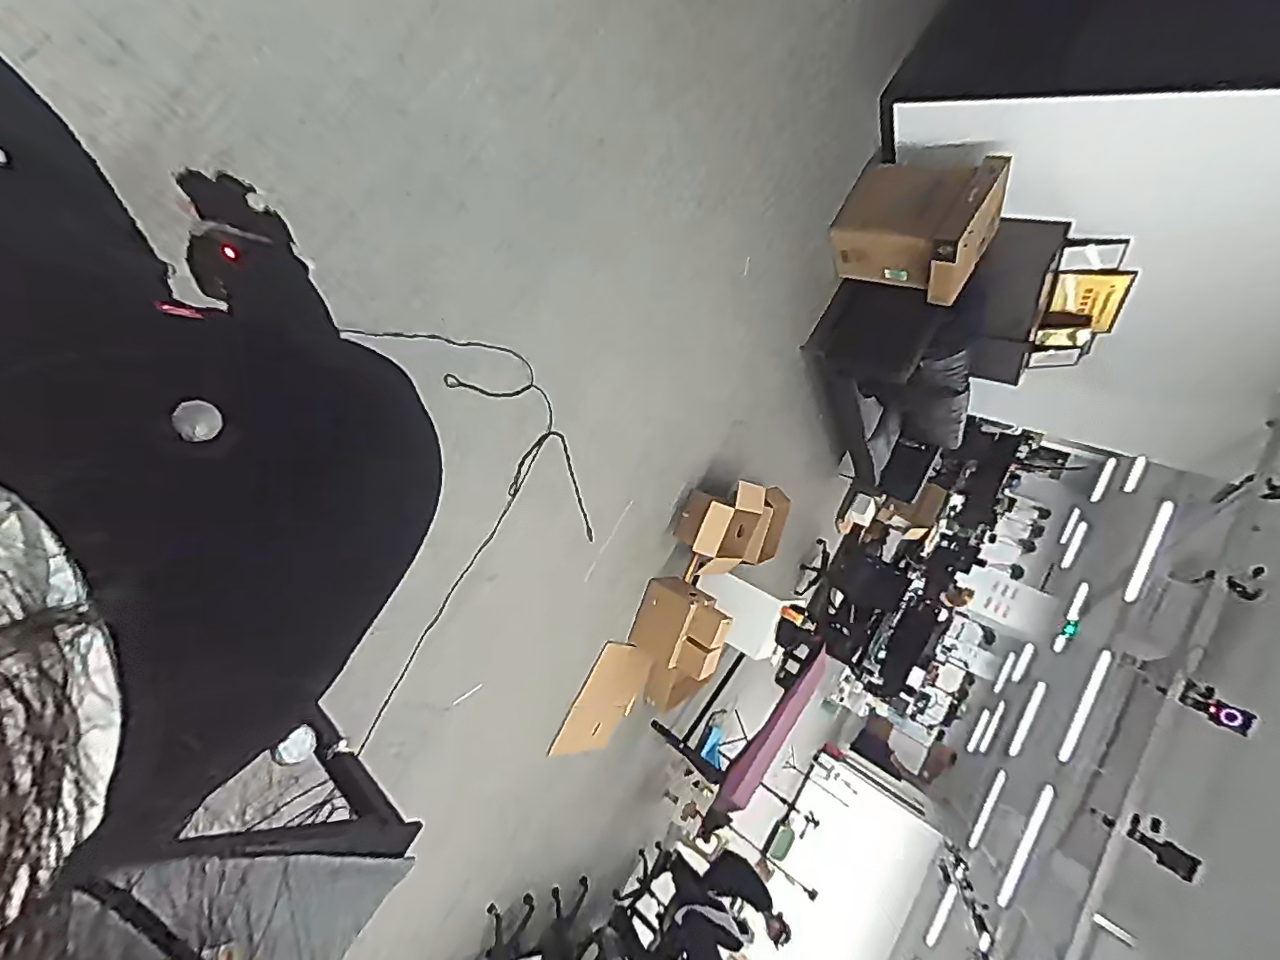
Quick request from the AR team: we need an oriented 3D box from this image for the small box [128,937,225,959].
[{"bbox_3d":[-0.748,0.864,0.822,0.179,0.176,0.168,-60,147,-8],"label":"small box"}]
